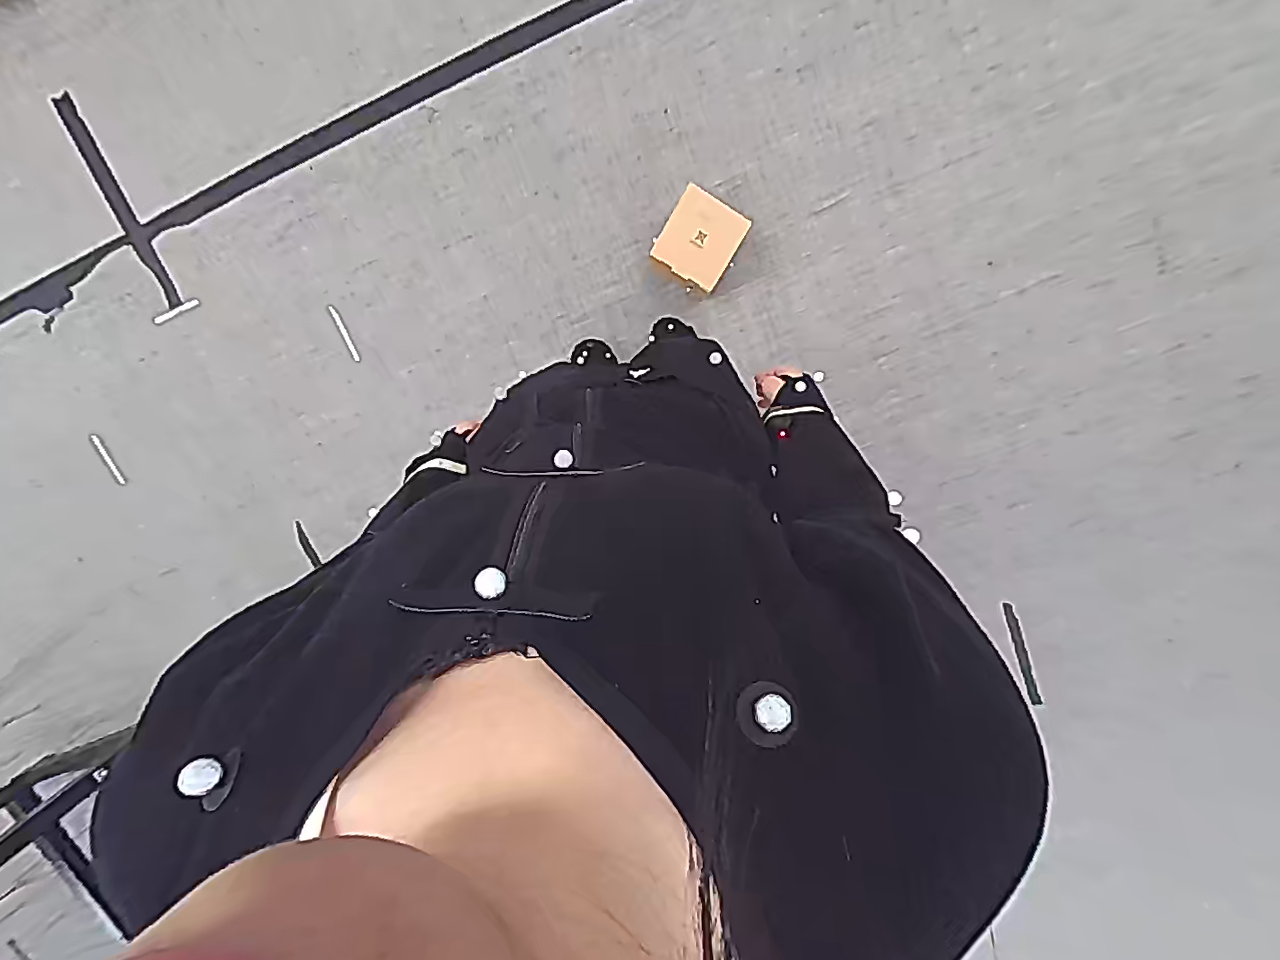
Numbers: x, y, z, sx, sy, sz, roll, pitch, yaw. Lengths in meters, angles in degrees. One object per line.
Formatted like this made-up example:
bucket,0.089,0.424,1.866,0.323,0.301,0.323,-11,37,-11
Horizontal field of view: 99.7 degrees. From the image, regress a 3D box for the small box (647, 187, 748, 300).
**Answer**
small box,0.130,-0.546,1.282,0.168,0.176,0.179,30,101,-7
